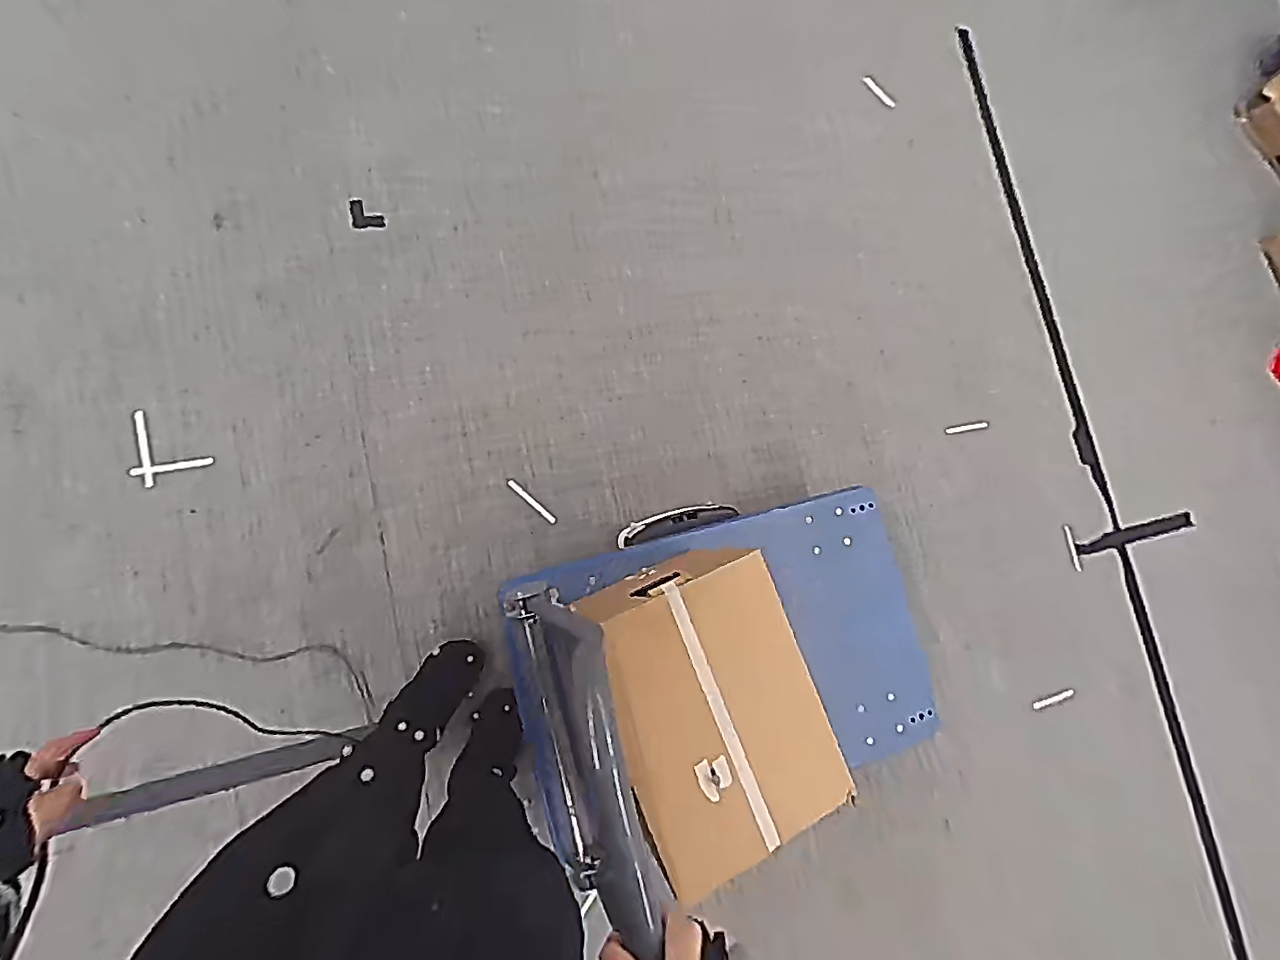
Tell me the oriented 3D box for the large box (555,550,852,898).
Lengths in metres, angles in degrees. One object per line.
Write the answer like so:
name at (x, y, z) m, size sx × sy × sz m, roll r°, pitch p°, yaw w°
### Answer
large box at (0.080, 0.364, 0.936) m, size 0.320 × 0.320 × 0.408 m, roll -21°, pitch 89°, yaw -16°
